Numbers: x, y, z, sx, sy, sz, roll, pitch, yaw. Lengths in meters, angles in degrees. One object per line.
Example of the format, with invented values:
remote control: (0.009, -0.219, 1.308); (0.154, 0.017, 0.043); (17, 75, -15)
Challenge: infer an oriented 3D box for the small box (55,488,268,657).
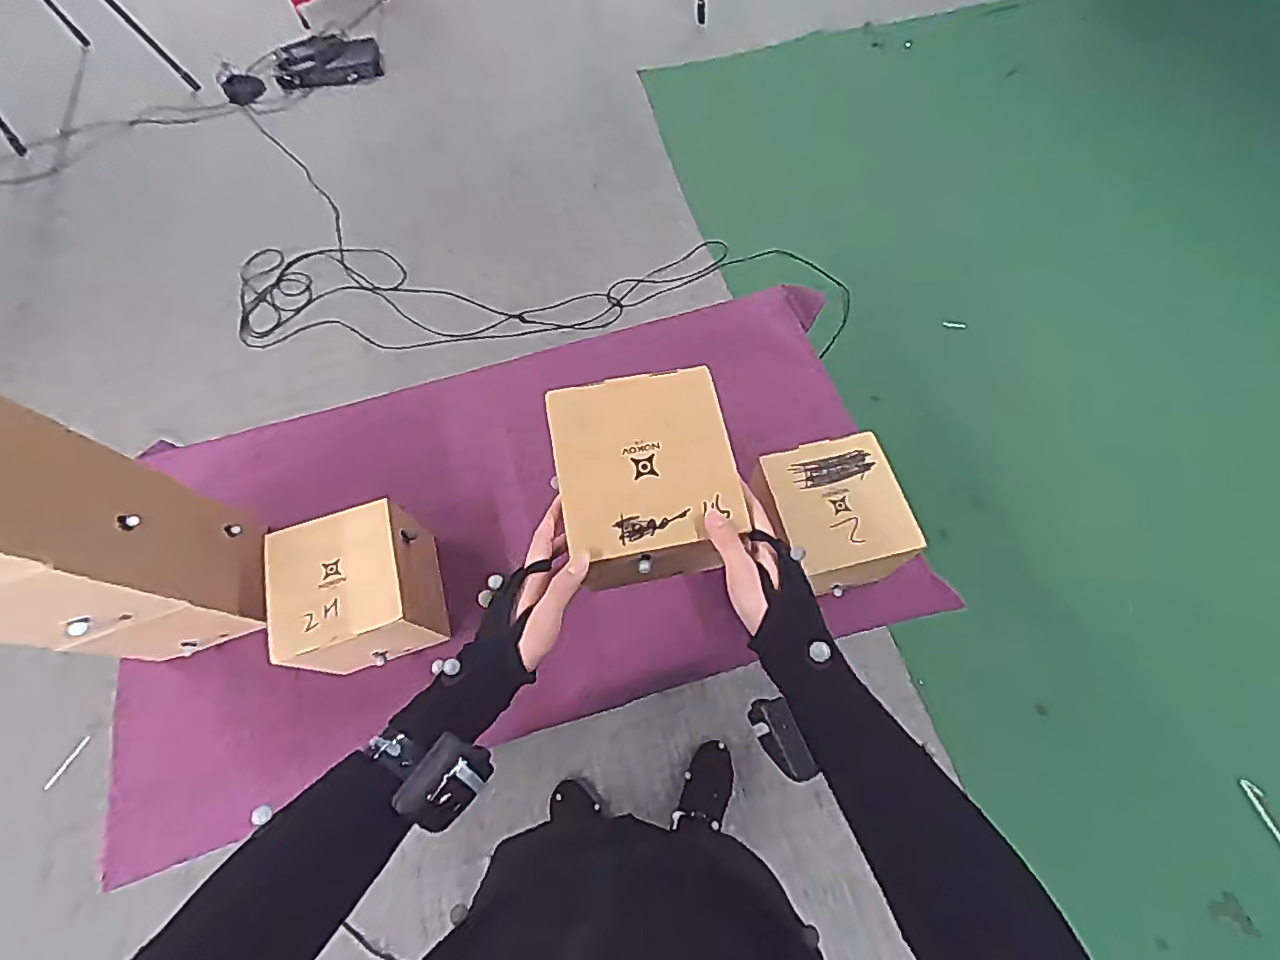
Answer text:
small box: (-0.671, 0.140, 0.784); (0.168, 0.176, 0.179); (-19, 68, -5)

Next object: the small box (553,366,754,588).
small box: (0.007, 0.005, 0.578); (0.168, 0.176, 0.179); (-10, 71, -3)

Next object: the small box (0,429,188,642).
small box: (-0.677, 0.073, 0.634); (0.168, 0.176, 0.179); (-19, 68, -5)

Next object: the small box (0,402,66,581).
small box: (-0.684, 0.009, 0.486); (0.168, 0.176, 0.179); (-20, 67, -5)

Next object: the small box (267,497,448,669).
small box: (-0.392, 0.152, 0.766); (0.168, 0.176, 0.179); (-17, 67, -5)
